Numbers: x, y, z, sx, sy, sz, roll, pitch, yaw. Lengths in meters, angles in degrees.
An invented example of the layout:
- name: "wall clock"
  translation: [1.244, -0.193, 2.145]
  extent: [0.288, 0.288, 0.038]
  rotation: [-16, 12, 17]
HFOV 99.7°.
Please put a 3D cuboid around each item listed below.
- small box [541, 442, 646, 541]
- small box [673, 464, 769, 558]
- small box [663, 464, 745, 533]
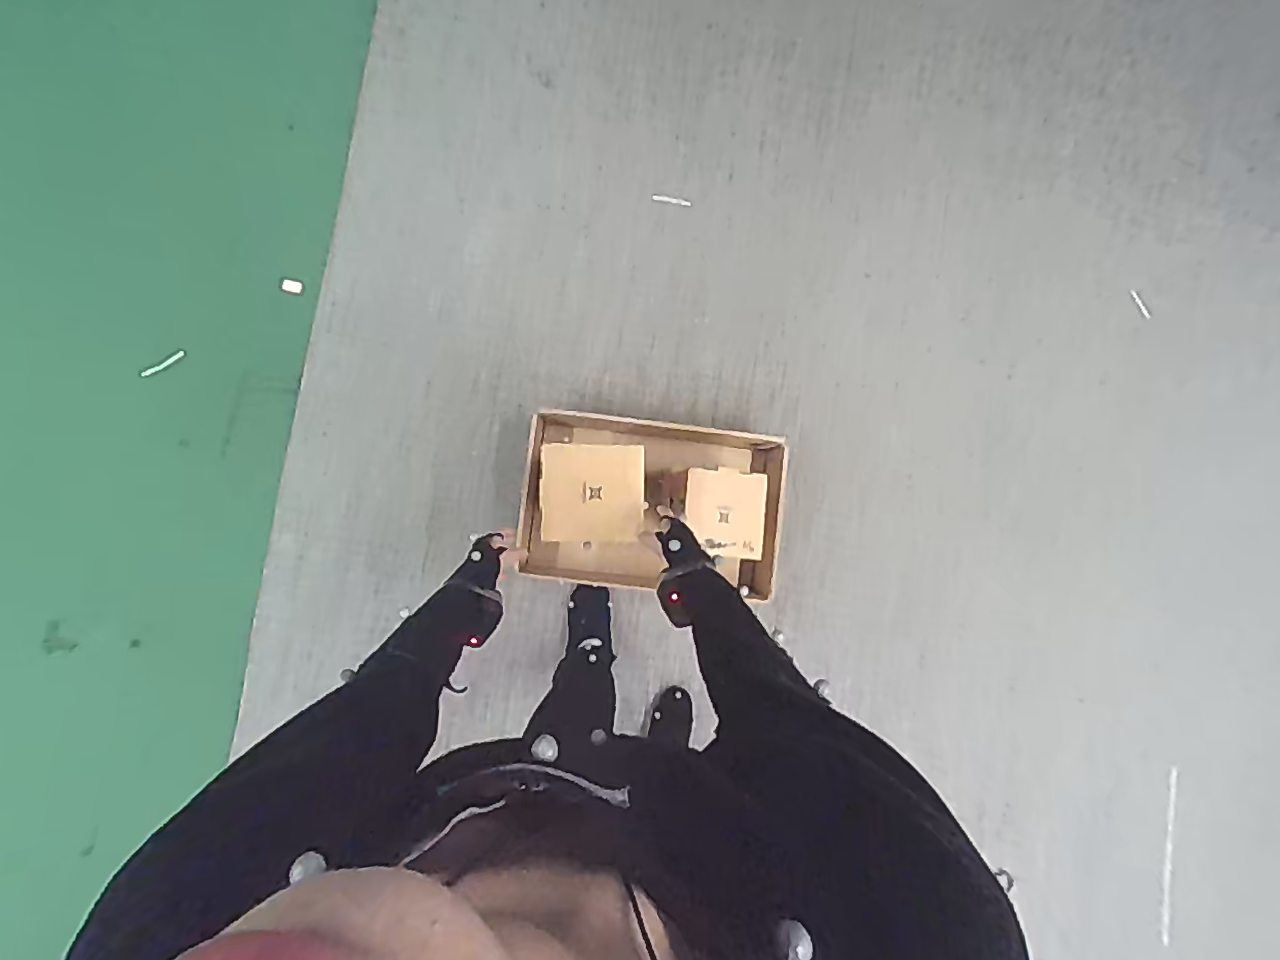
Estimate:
- name: "small box"
  translation: [-0.085, 0.020, 0.986]
  extent: [0.179, 0.176, 0.168]
  rotation: [1, 89, -4]
- name: "small box"
  translation: [0.167, 0.067, 1.166]
  extent: [0.168, 0.176, 0.179]
  rotation: [6, 87, -3]
- name: "small box"
  translation: [0.152, 0.051, 1.330]
  extent: [0.179, 0.176, 0.168]
  rotation: [2, 88, -4]
